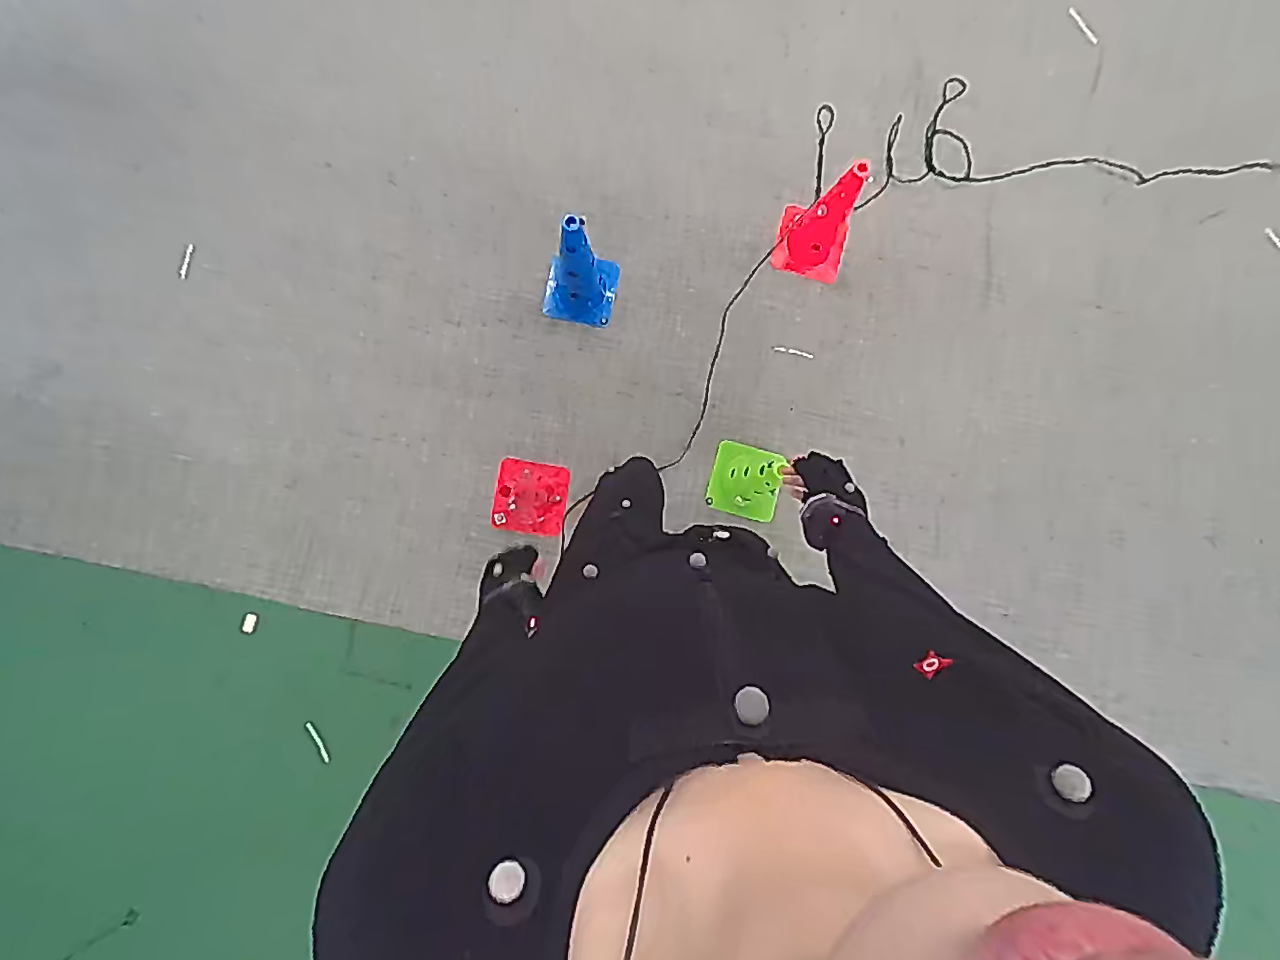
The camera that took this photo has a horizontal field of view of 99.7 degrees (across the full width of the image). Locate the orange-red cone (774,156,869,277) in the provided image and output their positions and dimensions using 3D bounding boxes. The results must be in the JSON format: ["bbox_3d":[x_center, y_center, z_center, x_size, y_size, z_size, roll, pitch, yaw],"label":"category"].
[{"bbox_3d":[0.508,-0.718,1.418,0.198,0.360,0.199,16,87,0],"label":"orange-red cone"}]

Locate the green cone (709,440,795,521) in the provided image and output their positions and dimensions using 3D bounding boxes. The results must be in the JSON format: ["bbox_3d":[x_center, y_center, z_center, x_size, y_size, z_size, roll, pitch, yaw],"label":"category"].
[{"bbox_3d":[0.316,-0.014,1.360,0.200,0.368,0.202,14,85,-1],"label":"green cone"}]
